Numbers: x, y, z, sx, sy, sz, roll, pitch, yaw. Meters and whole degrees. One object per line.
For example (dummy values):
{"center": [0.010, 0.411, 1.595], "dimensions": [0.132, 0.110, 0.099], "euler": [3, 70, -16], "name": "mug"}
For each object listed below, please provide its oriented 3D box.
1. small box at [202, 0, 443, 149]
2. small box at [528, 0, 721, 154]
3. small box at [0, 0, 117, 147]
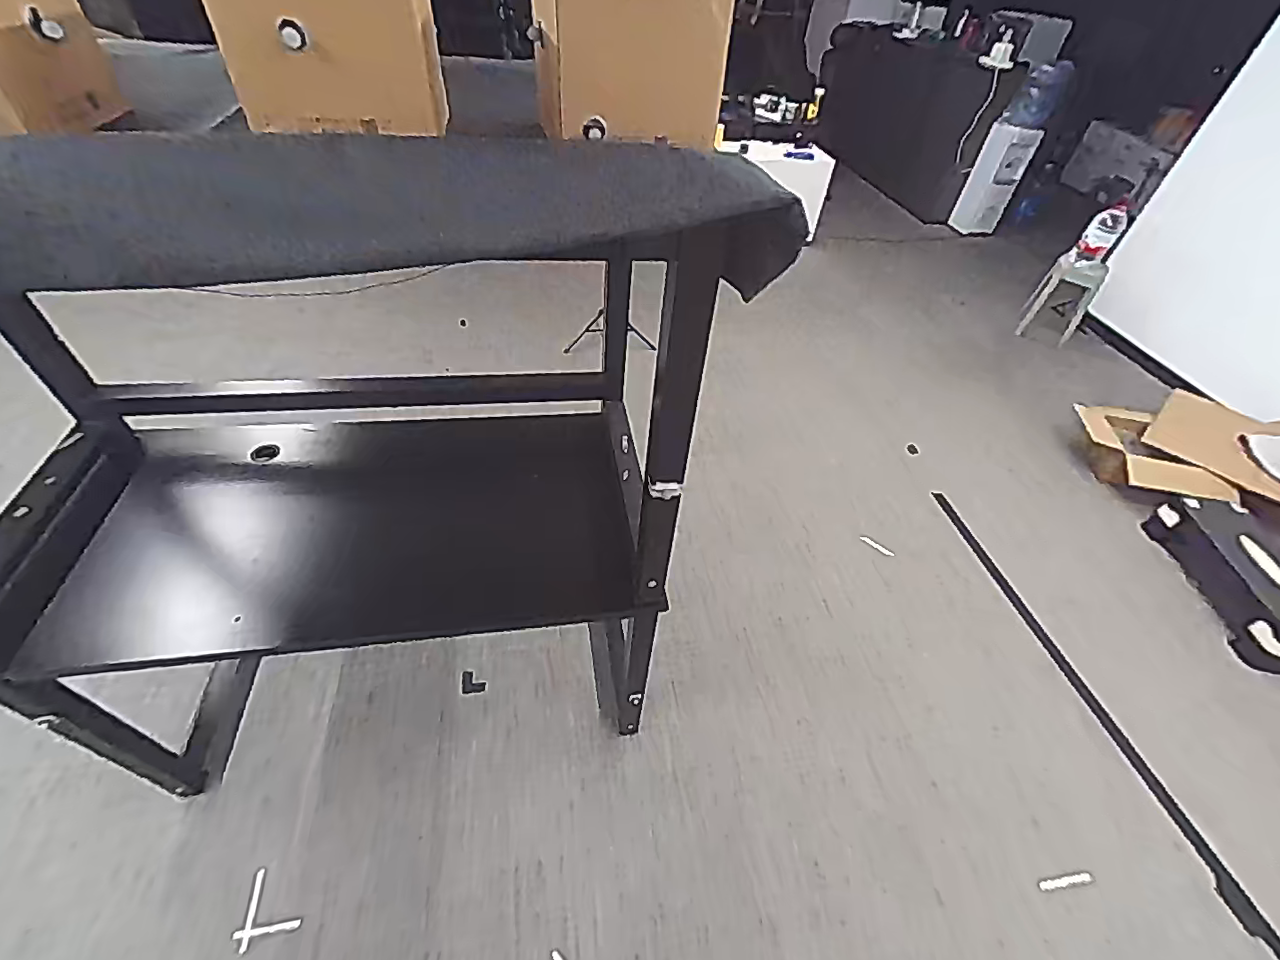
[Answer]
{"center": [-0.293, -0.436, 0.524], "dimensions": [0.168, 0.176, 0.179], "euler": [-6, 46, -11], "name": "small box"}
{"center": [-0.022, -0.454, 0.564], "dimensions": [0.168, 0.176, 0.179], "euler": [-9, 46, -13], "name": "small box"}
{"center": [-0.605, -0.390, 0.446], "dimensions": [0.179, 0.176, 0.168], "euler": [-4, 45, -11], "name": "small box"}
